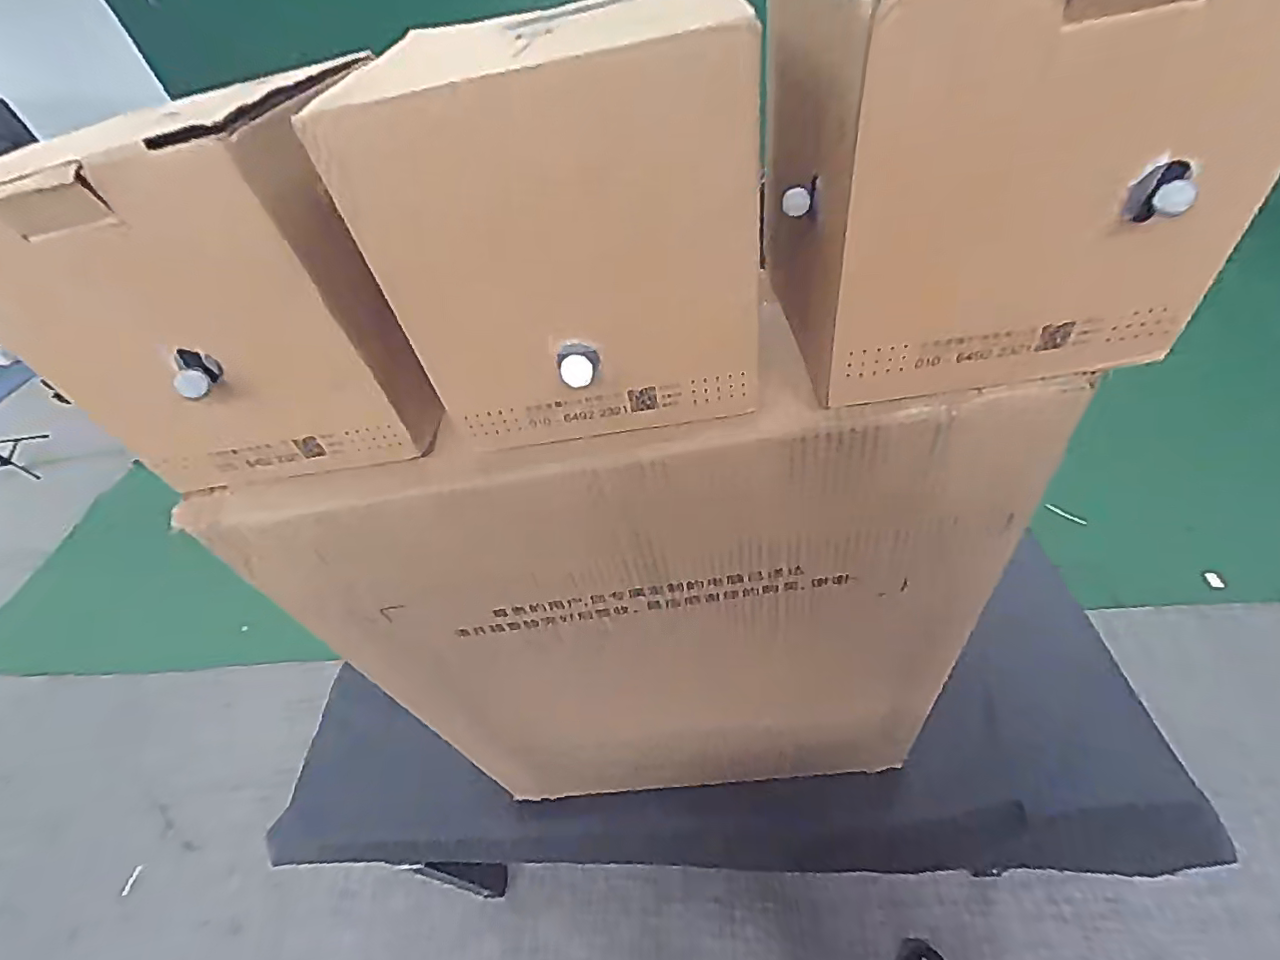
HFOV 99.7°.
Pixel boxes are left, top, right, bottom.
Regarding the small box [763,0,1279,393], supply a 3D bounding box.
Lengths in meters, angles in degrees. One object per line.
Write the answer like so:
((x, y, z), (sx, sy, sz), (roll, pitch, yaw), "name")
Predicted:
((0.163, -0.158, 0.283), (0.168, 0.176, 0.179), (-6, 45, 3), "small box")

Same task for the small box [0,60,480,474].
((-0.215, -0.117, 0.327), (0.168, 0.176, 0.179), (-8, 46, 7), "small box")
